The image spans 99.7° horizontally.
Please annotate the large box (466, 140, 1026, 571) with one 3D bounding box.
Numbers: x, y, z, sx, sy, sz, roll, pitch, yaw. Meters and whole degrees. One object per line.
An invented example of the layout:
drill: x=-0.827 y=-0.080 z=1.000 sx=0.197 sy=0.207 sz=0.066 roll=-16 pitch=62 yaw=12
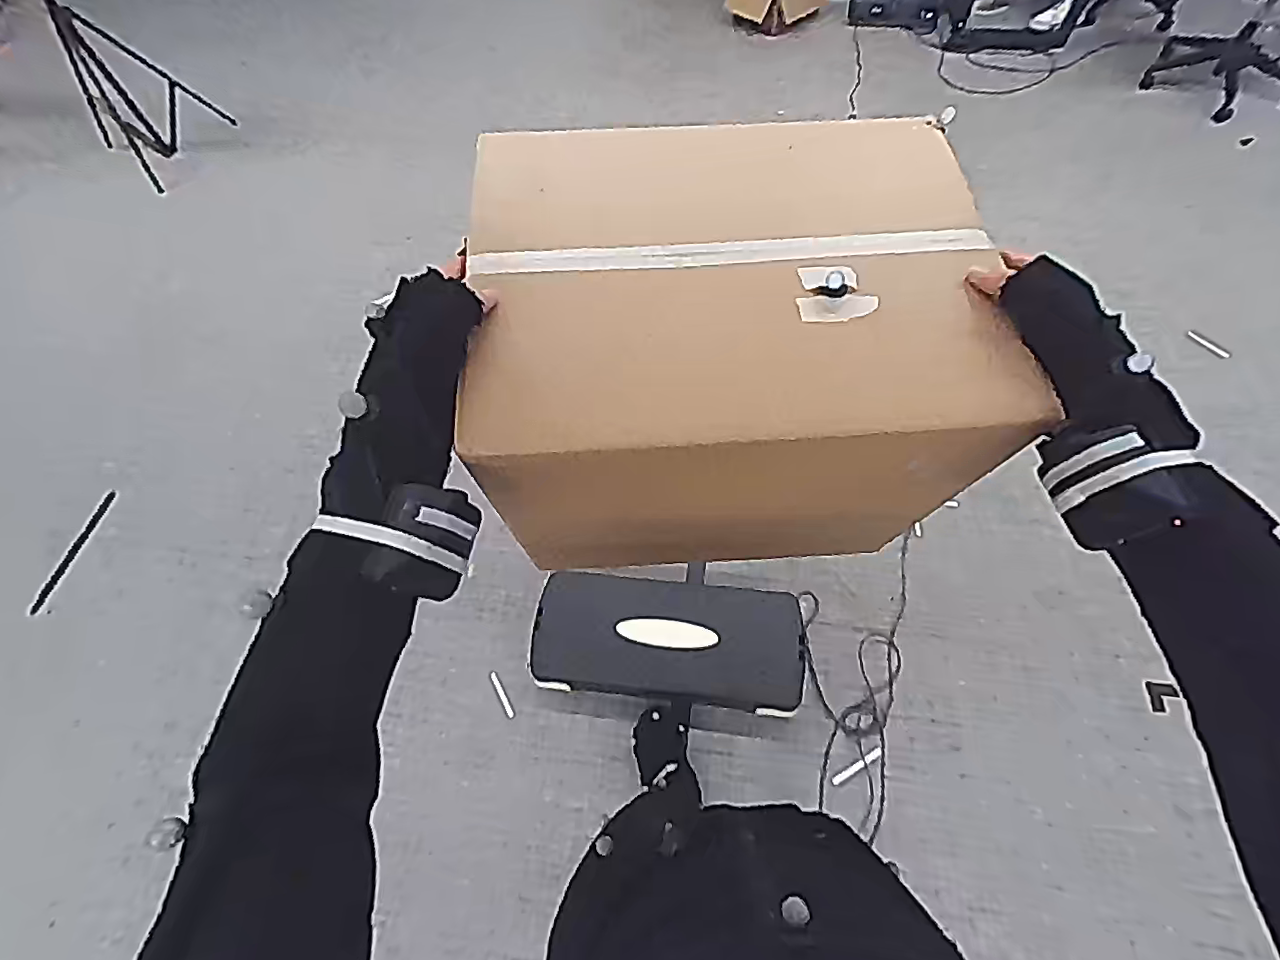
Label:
large box: x=0.064 y=-0.104 z=0.569 sx=0.408 sy=0.320 sz=0.320 roll=-3 pitch=66 yaw=-2
